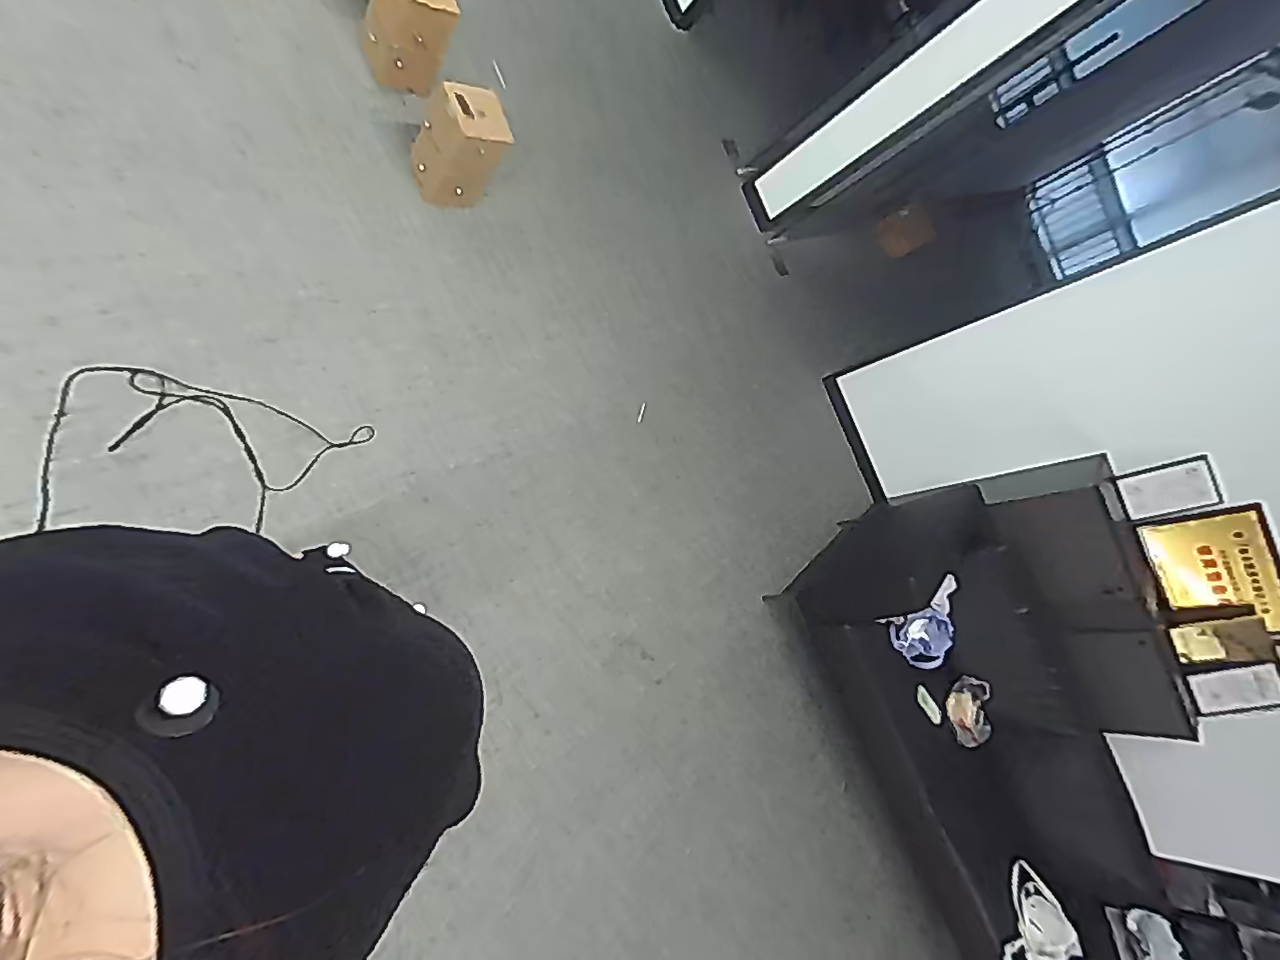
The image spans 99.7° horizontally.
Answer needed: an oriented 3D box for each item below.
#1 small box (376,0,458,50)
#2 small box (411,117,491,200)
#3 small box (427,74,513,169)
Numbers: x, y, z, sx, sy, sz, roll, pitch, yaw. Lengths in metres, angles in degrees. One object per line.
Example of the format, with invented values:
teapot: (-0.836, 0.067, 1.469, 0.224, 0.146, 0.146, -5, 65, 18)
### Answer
small box: (-0.676, -1.443, 1.605, 0.168, 0.176, 0.179, -24, 94, -42)
small box: (-0.622, -1.035, 1.756, 0.179, 0.176, 0.168, -26, 95, -41)
small box: (-0.521, -1.069, 1.630, 0.179, 0.176, 0.168, -24, 94, -43)
